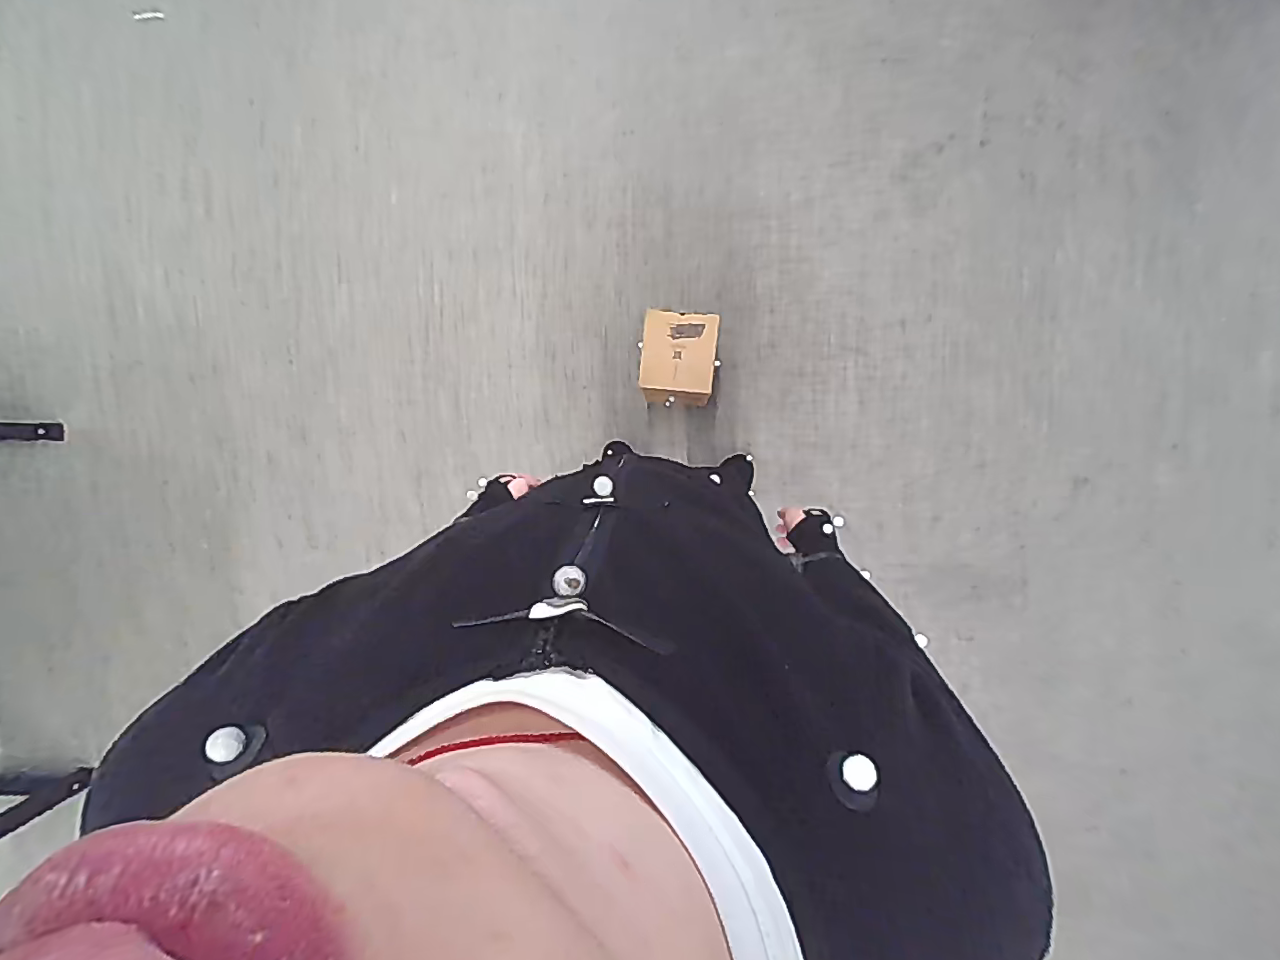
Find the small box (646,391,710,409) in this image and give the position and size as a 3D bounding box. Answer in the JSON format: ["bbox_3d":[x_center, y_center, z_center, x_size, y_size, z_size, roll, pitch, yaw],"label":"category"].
[{"bbox_3d":[0.109,-0.290,1.450,0.168,0.176,0.179,6,93,4],"label":"small box"}]

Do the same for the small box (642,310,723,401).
[{"bbox_3d":[0.099,-0.290,1.285,0.168,0.176,0.179,7,94,4],"label":"small box"}]
